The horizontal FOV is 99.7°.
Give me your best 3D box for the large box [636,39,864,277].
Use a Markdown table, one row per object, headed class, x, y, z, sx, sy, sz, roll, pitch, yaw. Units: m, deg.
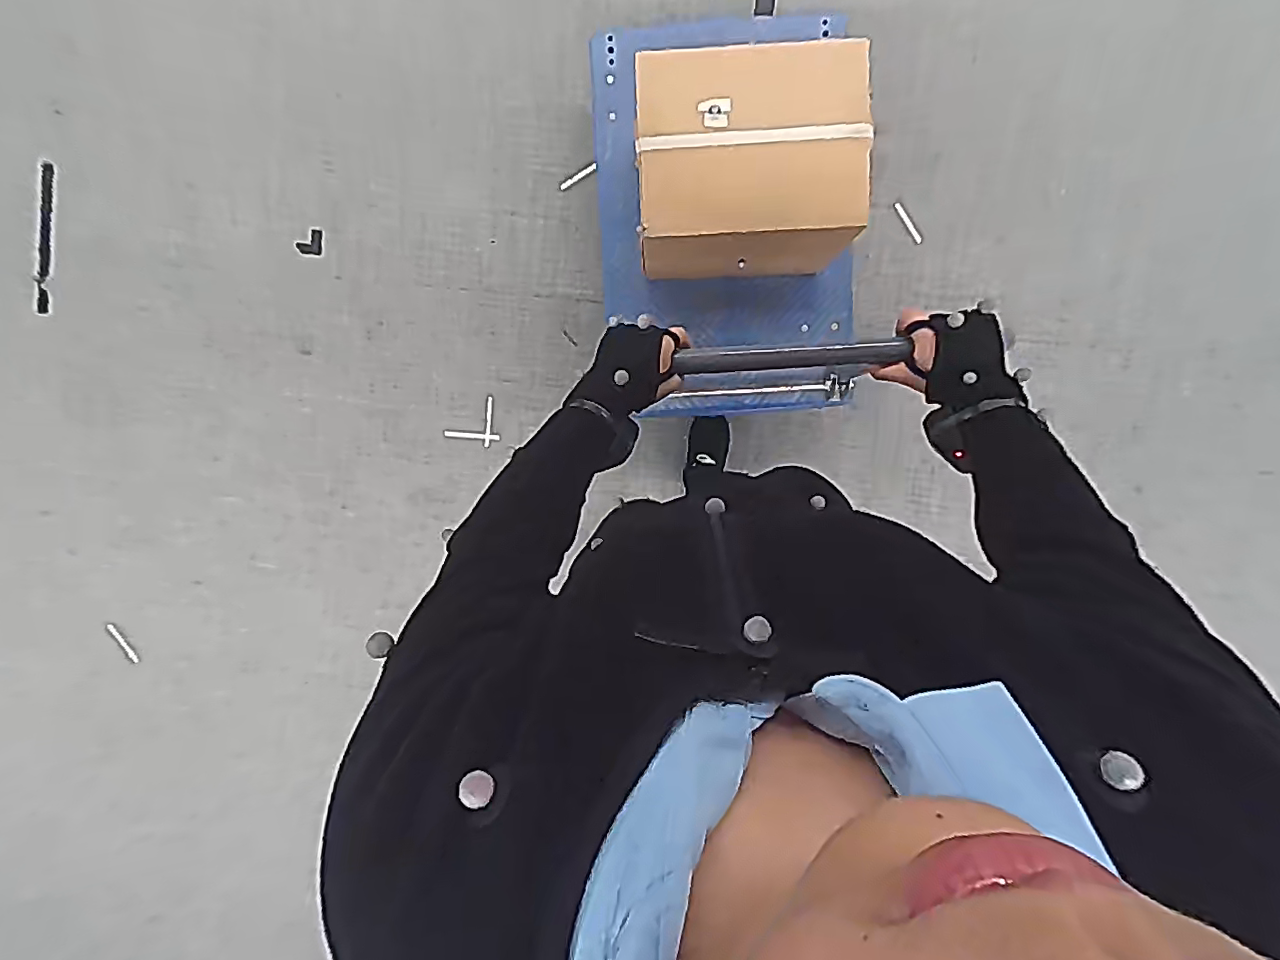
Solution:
| class | x | y | z | sx | sy | sz | roll | pitch | yaw |
| --- | --- | --- | --- | --- | --- | --- | --- | --- | --- |
| large box | 0.208 | -0.626 | 1.119 | 0.408 | 0.320 | 0.320 | -3 | 95 | 3 |
